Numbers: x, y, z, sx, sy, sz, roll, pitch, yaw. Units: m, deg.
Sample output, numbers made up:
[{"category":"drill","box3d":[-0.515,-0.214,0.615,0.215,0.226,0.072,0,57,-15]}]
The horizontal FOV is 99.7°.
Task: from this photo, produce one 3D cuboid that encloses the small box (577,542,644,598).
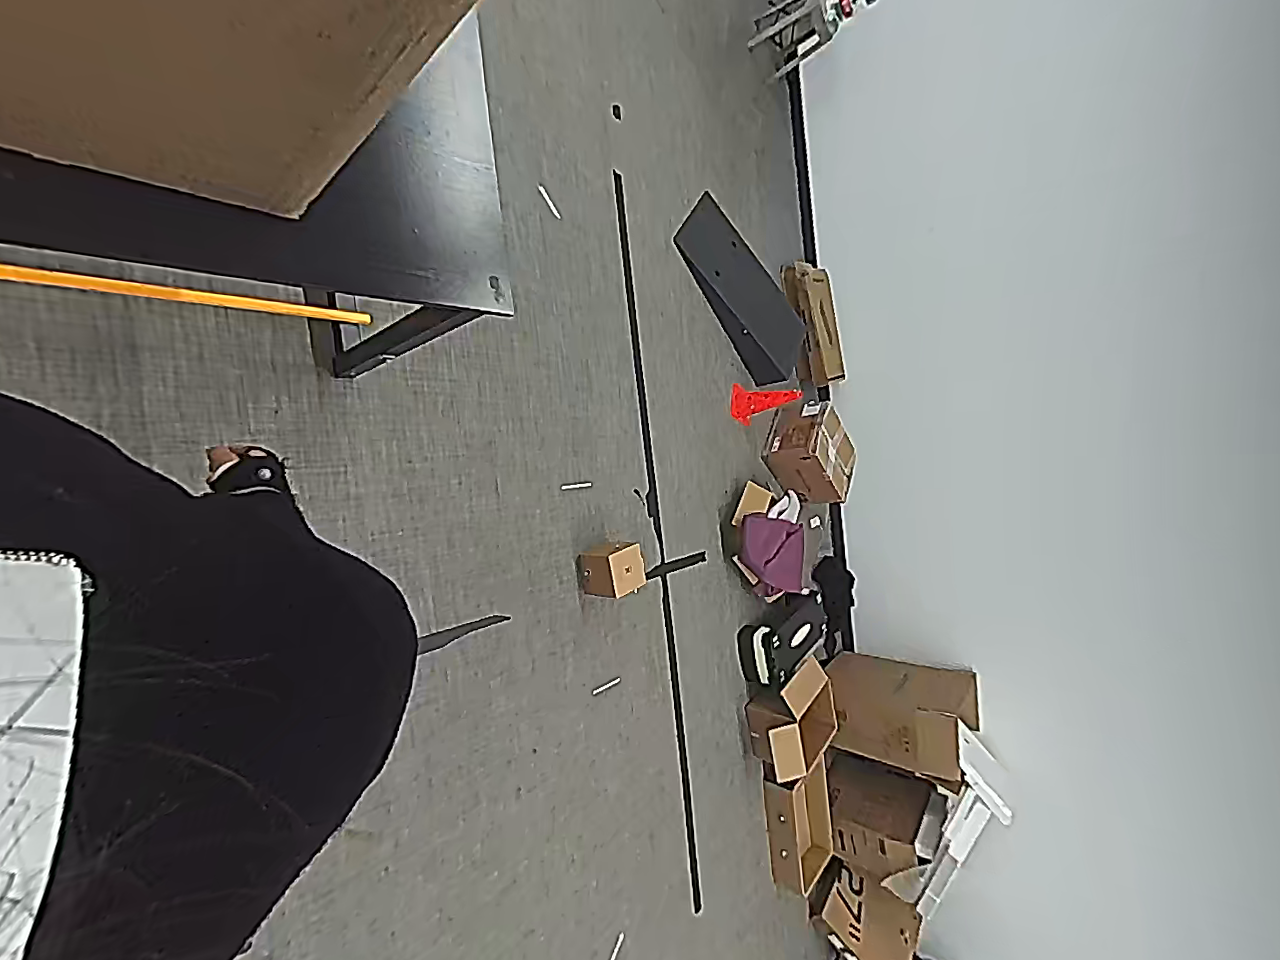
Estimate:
[{"category":"small box","box3d":[-0.114,0.338,2.071,0.179,0.176,0.168,-18,100,-47]}]
